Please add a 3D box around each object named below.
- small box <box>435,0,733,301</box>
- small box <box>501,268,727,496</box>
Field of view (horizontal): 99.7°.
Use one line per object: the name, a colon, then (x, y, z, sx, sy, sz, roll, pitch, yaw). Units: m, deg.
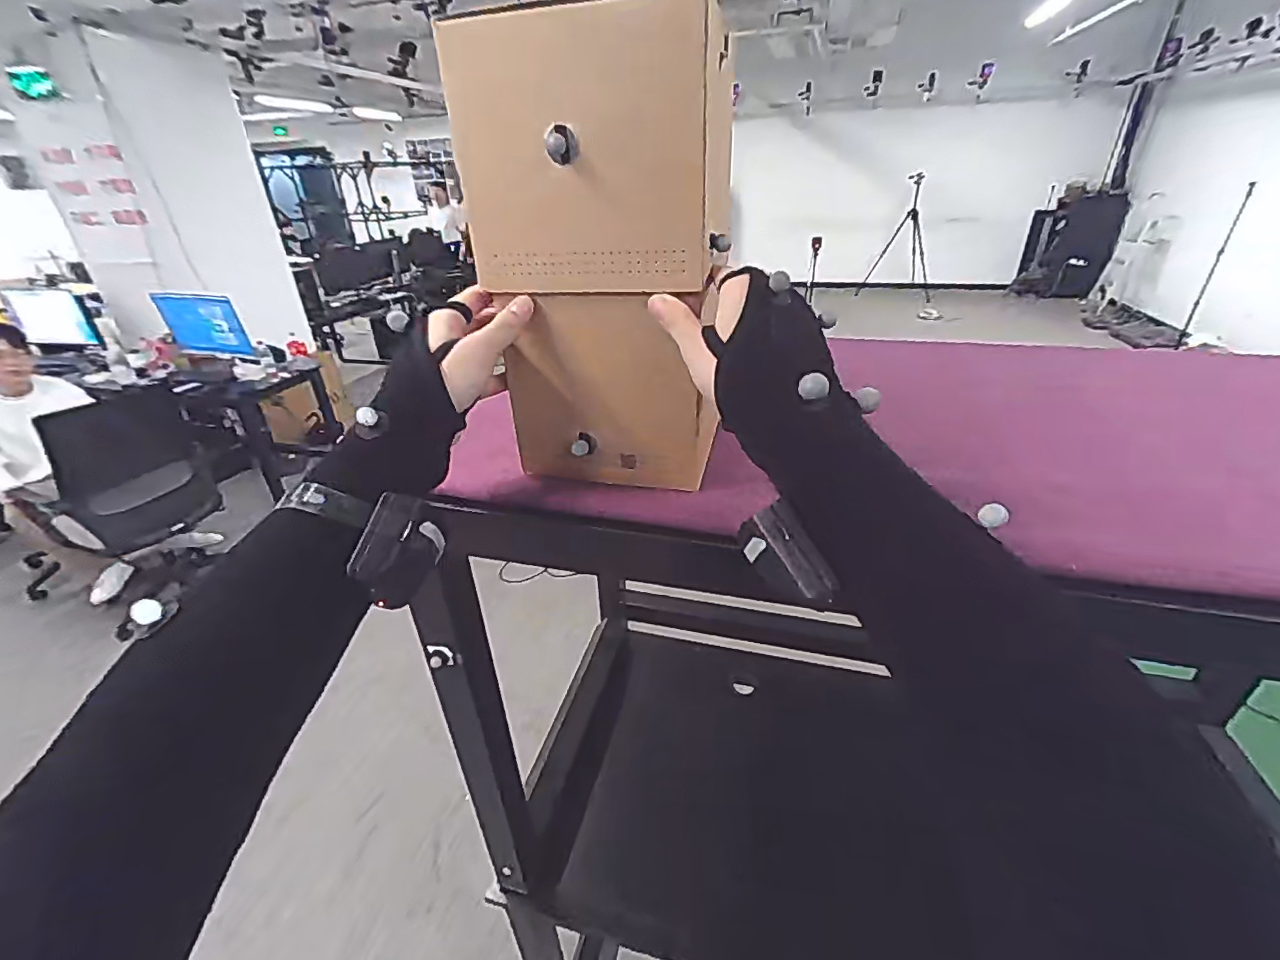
small box: (-0.024, -0.242, 0.428, 0.179, 0.176, 0.168, 3, 29, 14)
small box: (-0.012, -0.104, 0.516, 0.168, 0.176, 0.179, 5, 29, 14)
